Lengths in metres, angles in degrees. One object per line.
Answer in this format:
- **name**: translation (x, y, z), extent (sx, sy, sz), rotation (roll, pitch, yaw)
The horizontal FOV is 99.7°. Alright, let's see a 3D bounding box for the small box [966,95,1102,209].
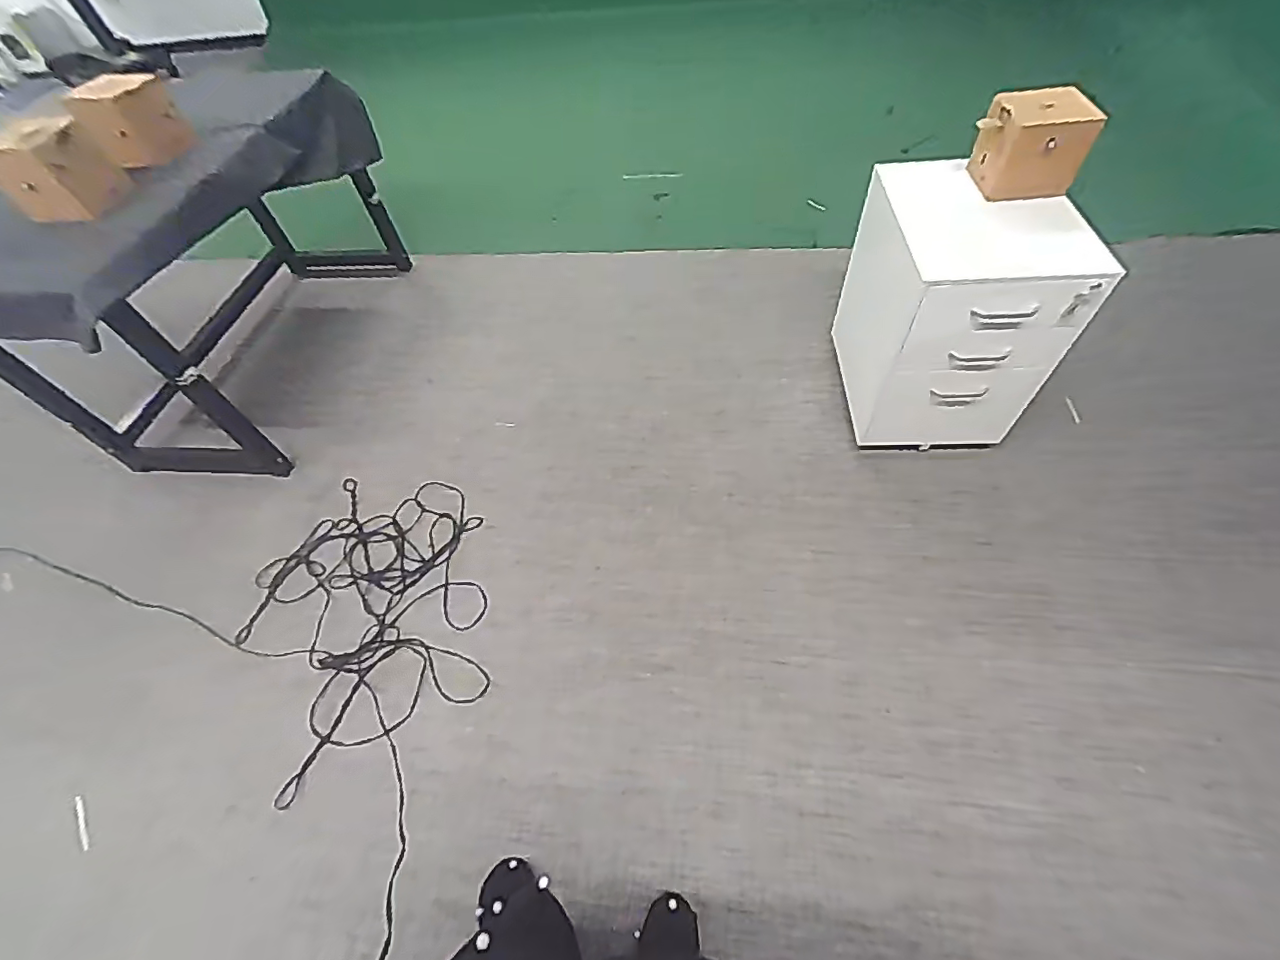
- **small box**: translation (0.903, -0.760, 1.259), extent (0.179, 0.176, 0.168), rotation (-2, 55, 6)

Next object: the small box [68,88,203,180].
- **small box**: translation (-1.378, -0.953, 1.494), extent (0.179, 0.176, 0.168), rotation (6, 54, 12)
